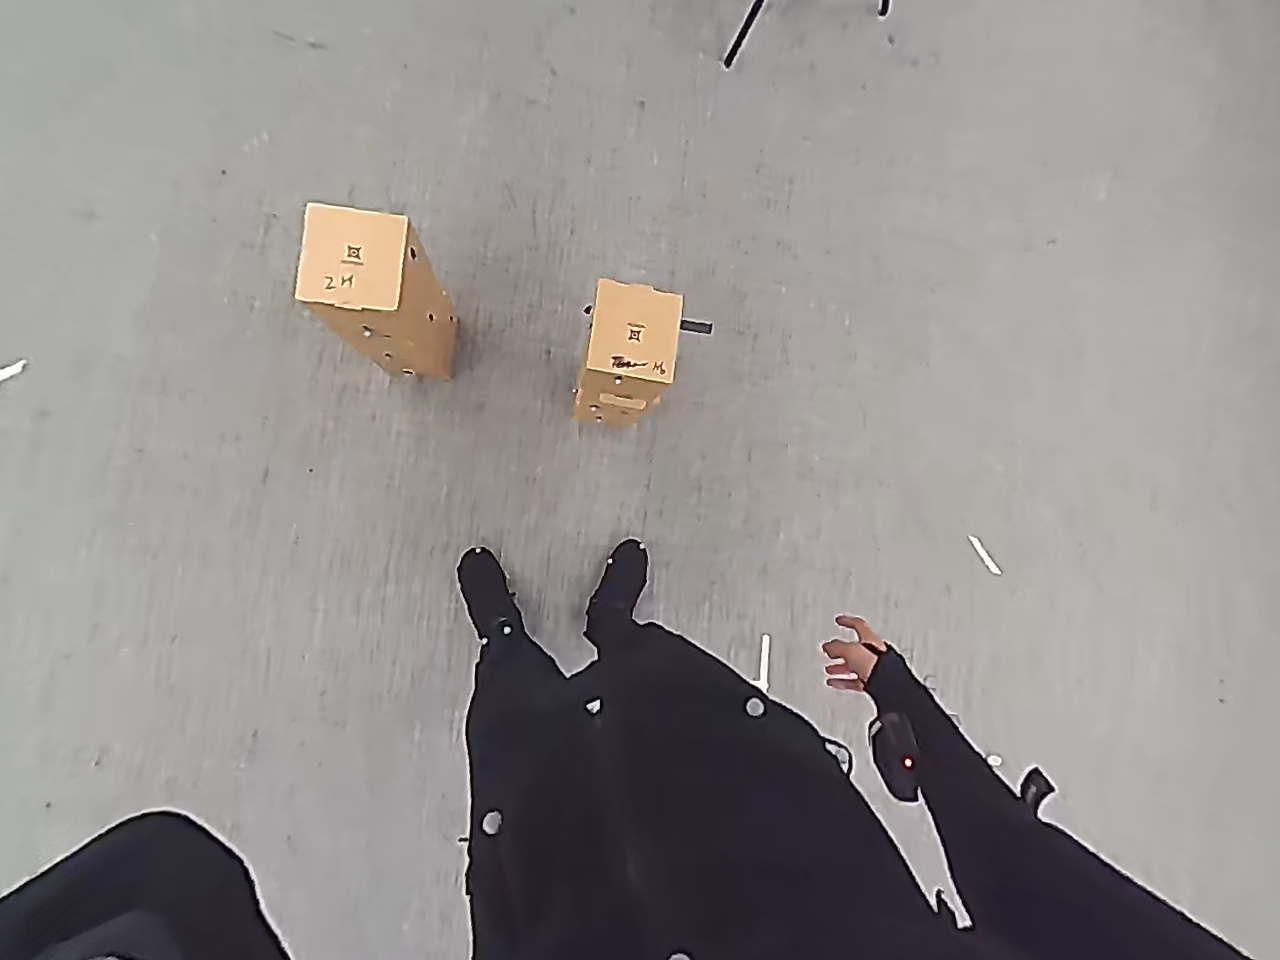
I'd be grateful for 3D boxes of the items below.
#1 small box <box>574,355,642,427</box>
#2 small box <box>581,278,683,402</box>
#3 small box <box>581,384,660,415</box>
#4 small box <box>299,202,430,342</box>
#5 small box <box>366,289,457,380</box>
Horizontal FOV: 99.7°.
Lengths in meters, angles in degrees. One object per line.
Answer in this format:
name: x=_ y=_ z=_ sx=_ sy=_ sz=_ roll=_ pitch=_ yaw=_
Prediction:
small box: x=-0.077 y=-0.247 z=1.411 sx=0.168 sy=0.176 sz=0.179 roll=10 pitch=85 yaw=-10
small box: x=-0.023 y=-0.271 z=1.087 sx=0.168 sy=0.176 sz=0.179 roll=9 pitch=84 yaw=-10
small box: x=-0.040 y=-0.257 z=1.251 sx=0.168 sy=0.176 sz=0.179 roll=9 pitch=84 yaw=-10
small box: x=-0.499 y=-0.377 z=1.006 sx=0.168 sy=0.176 sz=0.179 roll=6 pitch=86 yaw=-9
small box: x=-0.552 y=-0.360 z=1.329 sx=0.168 sy=0.176 sz=0.179 roll=5 pitch=85 yaw=-9
